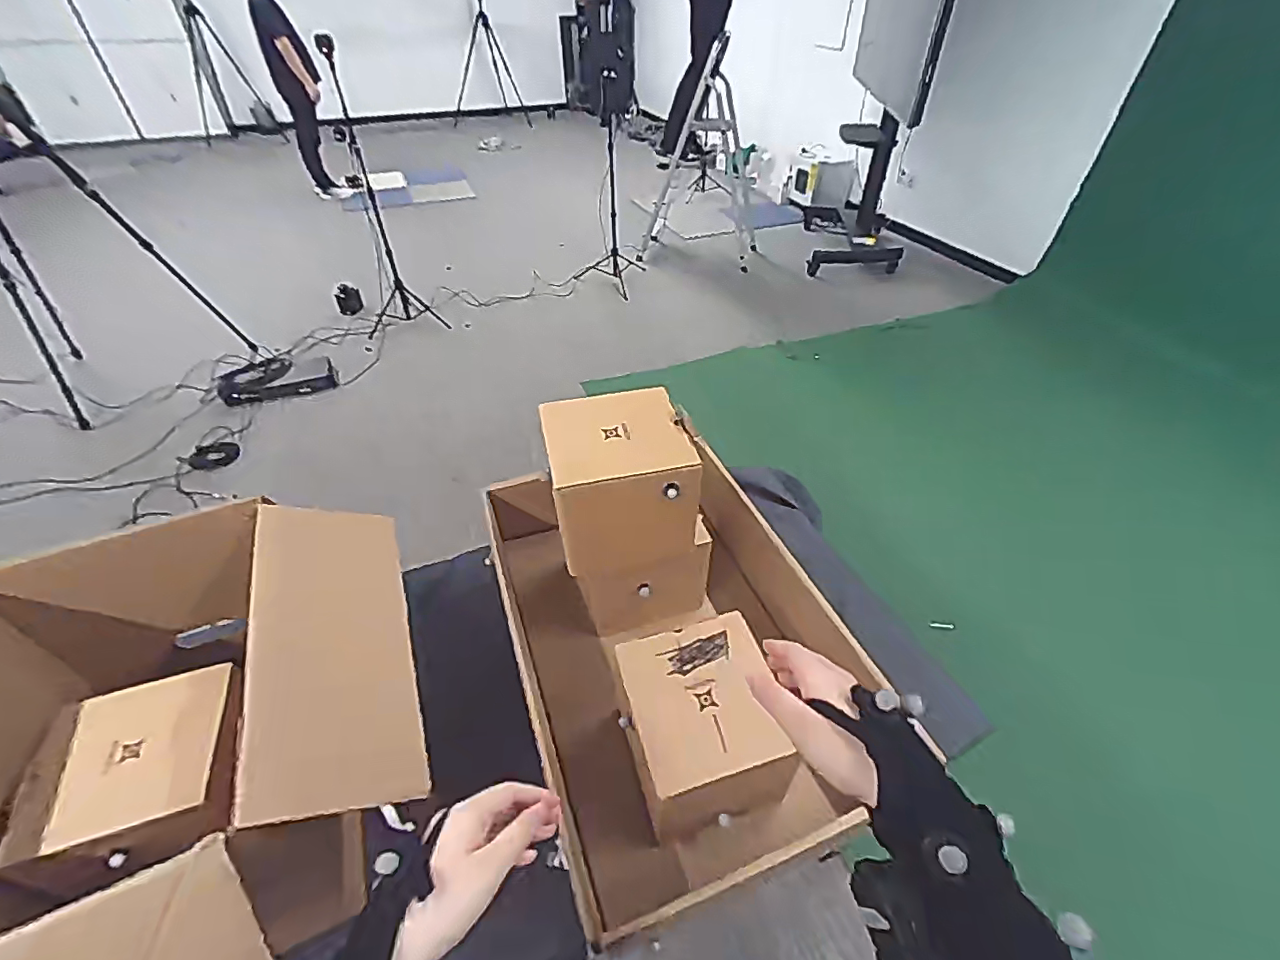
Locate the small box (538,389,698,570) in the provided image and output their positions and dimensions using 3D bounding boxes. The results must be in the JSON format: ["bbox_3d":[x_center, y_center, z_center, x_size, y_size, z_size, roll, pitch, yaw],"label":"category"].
[{"bbox_3d":[-0.033,0.001,0.729,0.179,0.176,0.168,-9,45,-11],"label":"small box"}]
